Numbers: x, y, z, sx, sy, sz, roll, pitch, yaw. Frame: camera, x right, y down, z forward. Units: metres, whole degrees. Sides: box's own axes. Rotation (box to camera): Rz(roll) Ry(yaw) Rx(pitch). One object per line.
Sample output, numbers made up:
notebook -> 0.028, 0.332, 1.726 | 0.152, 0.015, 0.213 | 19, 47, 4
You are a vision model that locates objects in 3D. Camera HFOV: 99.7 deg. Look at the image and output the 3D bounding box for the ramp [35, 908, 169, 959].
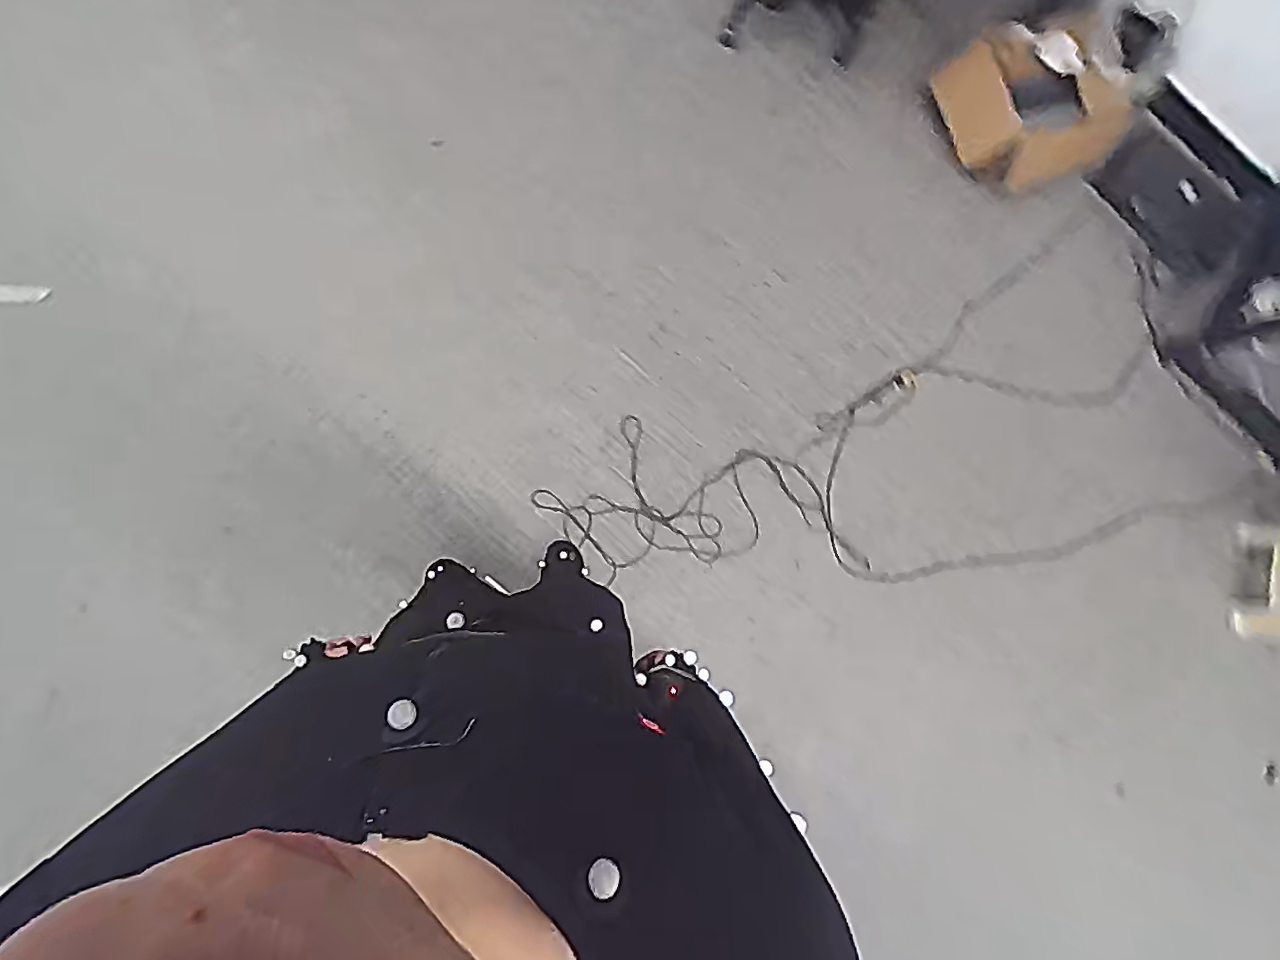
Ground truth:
ramp -> -1.304, 1.427, 1.004 | 0.509, 0.206, 0.991 | 39, 79, -2
